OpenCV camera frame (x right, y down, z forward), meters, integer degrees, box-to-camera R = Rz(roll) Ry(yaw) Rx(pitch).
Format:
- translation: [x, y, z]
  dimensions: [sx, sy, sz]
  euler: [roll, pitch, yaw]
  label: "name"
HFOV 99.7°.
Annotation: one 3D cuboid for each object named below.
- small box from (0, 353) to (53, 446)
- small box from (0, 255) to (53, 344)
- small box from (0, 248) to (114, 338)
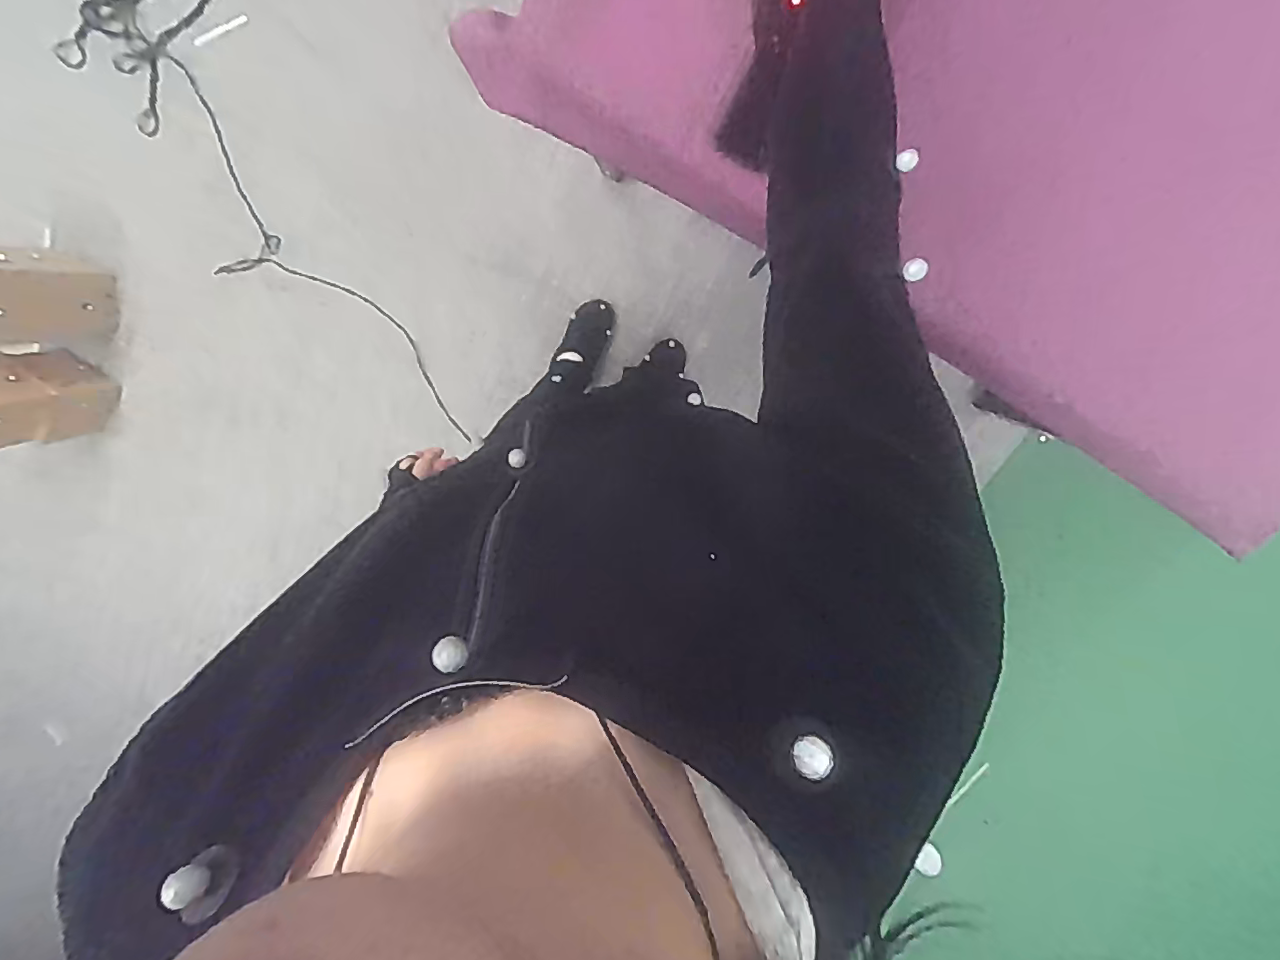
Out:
- translation: [-1.591, -0.184, 1.295]
  dimensions: [0.179, 0.176, 0.168]
  euler: [-43, 102, 14]
  label: "small box"
- translation: [-1.483, -0.407, 1.210]
  dimensions: [0.168, 0.176, 0.179]
  euler: [16, 109, -4]
  label: "small box"
- translation: [-1.485, -0.472, 1.359]
  dimensions: [0.179, 0.176, 0.168]
  euler: [20, 109, -4]
  label: "small box"
